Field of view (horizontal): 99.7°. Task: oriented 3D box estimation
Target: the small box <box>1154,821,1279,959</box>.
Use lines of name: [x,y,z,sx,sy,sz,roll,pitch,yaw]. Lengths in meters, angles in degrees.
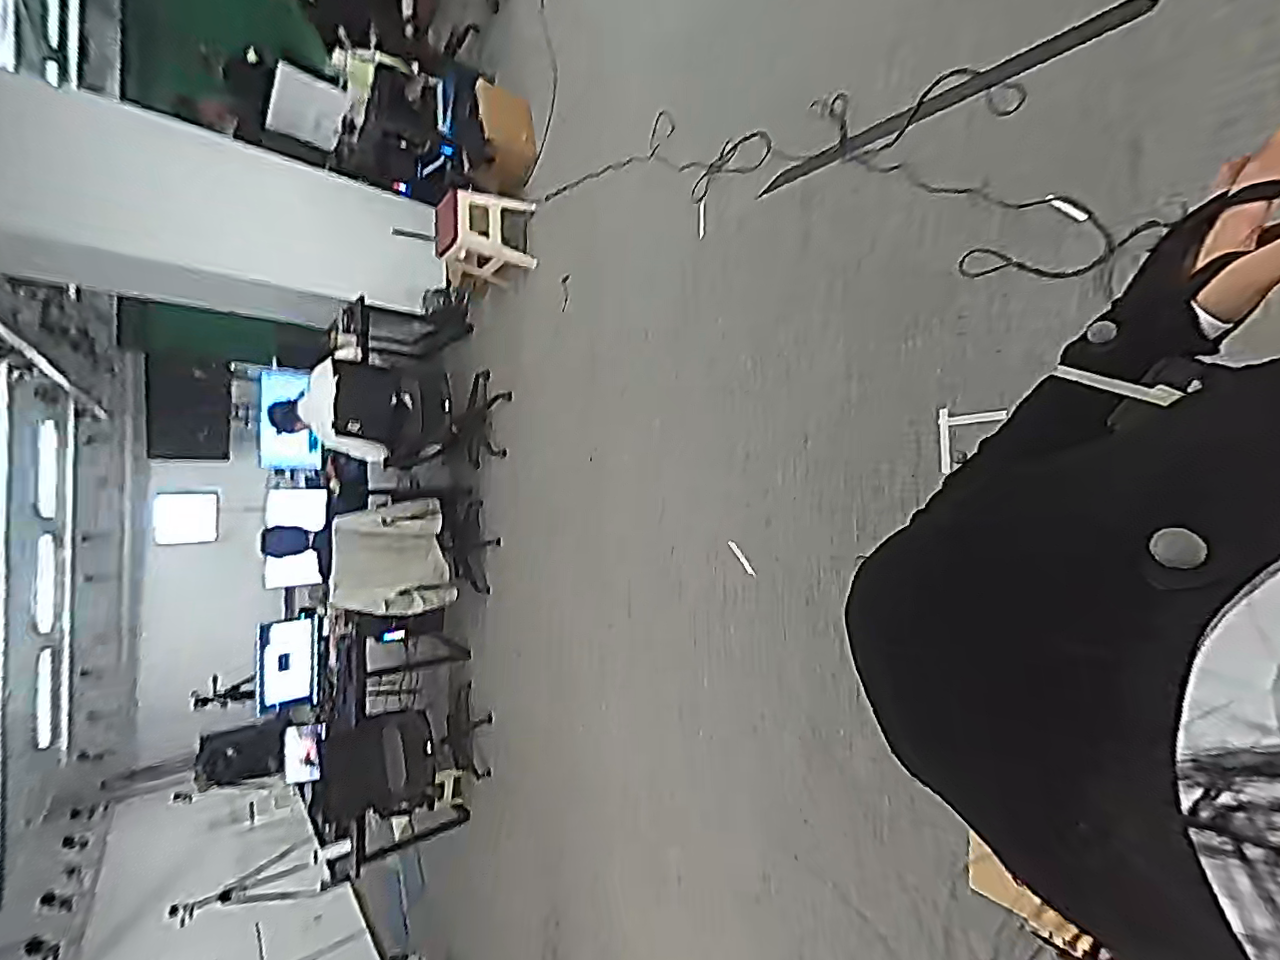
small box: [0.735,0.550,0.639,0.168,0.176,0.179,-3,84,50]
